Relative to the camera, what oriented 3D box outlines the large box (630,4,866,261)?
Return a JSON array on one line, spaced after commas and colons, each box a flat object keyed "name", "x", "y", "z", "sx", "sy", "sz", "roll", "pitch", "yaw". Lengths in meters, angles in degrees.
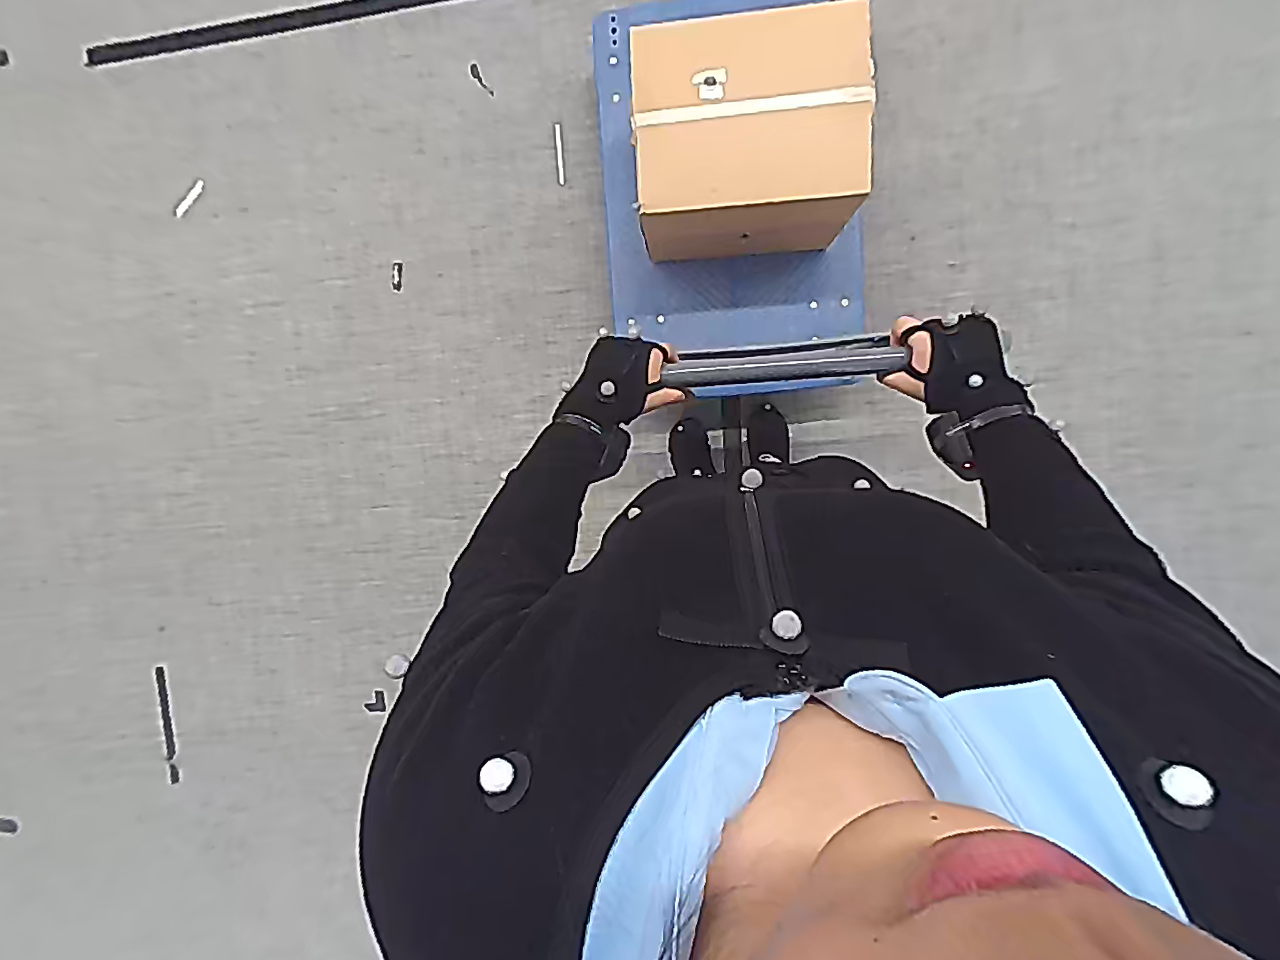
[{"name": "large box", "x": 0.206, "y": -0.658, "z": 1.096, "sx": 0.408, "sy": 0.320, "sz": 0.320, "roll": -3, "pitch": 95, "yaw": 7}]
